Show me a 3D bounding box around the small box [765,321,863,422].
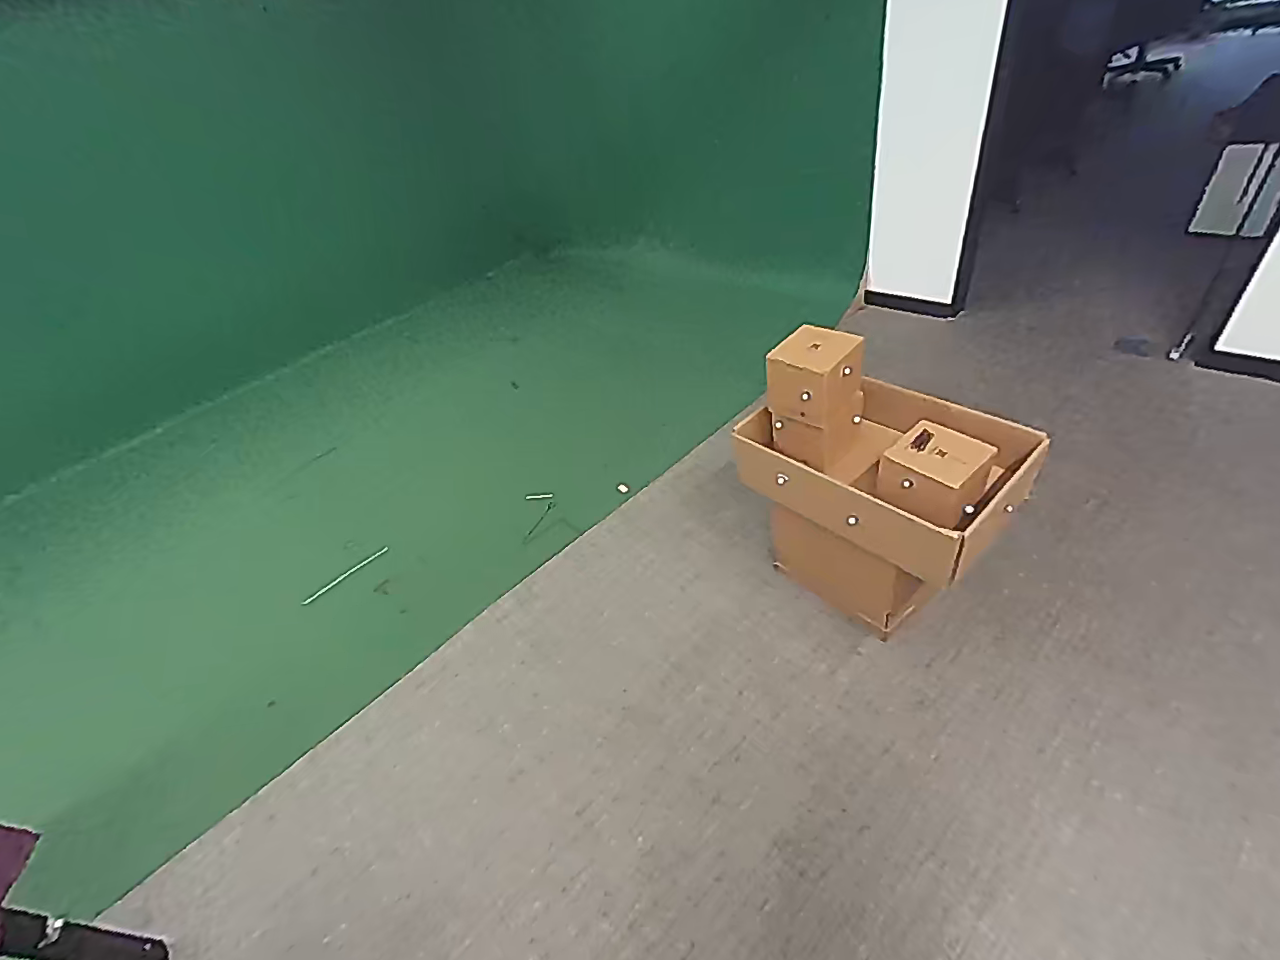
[{"bbox_3d":[0.437,-0.272,1.357,0.168,0.176,0.179,29,57,38],"label":"small box"}]
